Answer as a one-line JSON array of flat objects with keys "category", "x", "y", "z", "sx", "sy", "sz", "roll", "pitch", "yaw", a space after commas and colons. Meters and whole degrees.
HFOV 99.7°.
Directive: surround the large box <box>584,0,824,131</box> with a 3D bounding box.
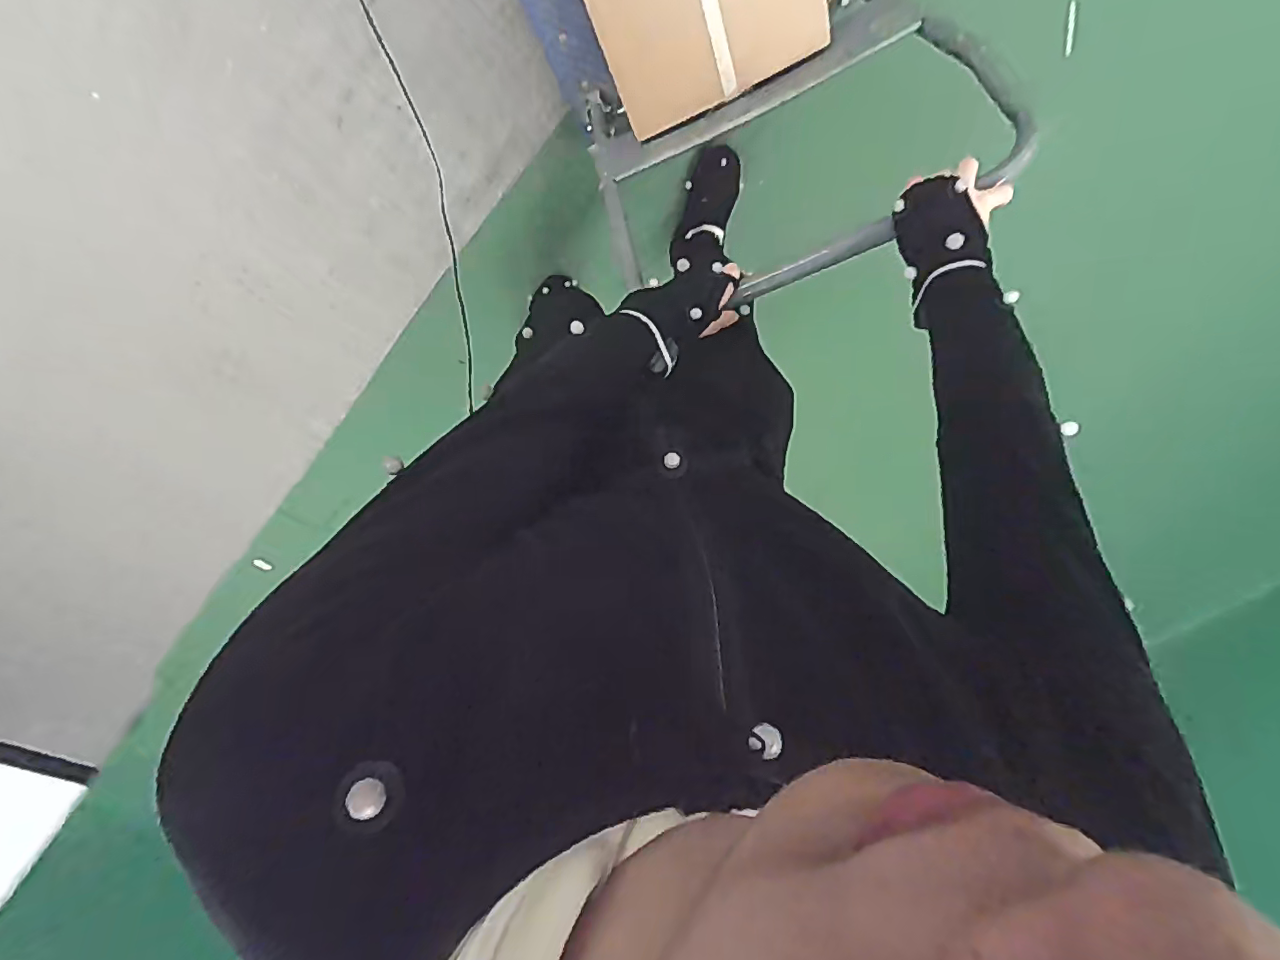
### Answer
[{"category": "large box", "x": 0.046, "y": -0.838, "z": 0.802, "sx": 0.320, "sy": 0.320, "sz": 0.408, "roll": -20, "pitch": 136, "yaw": 14}]
